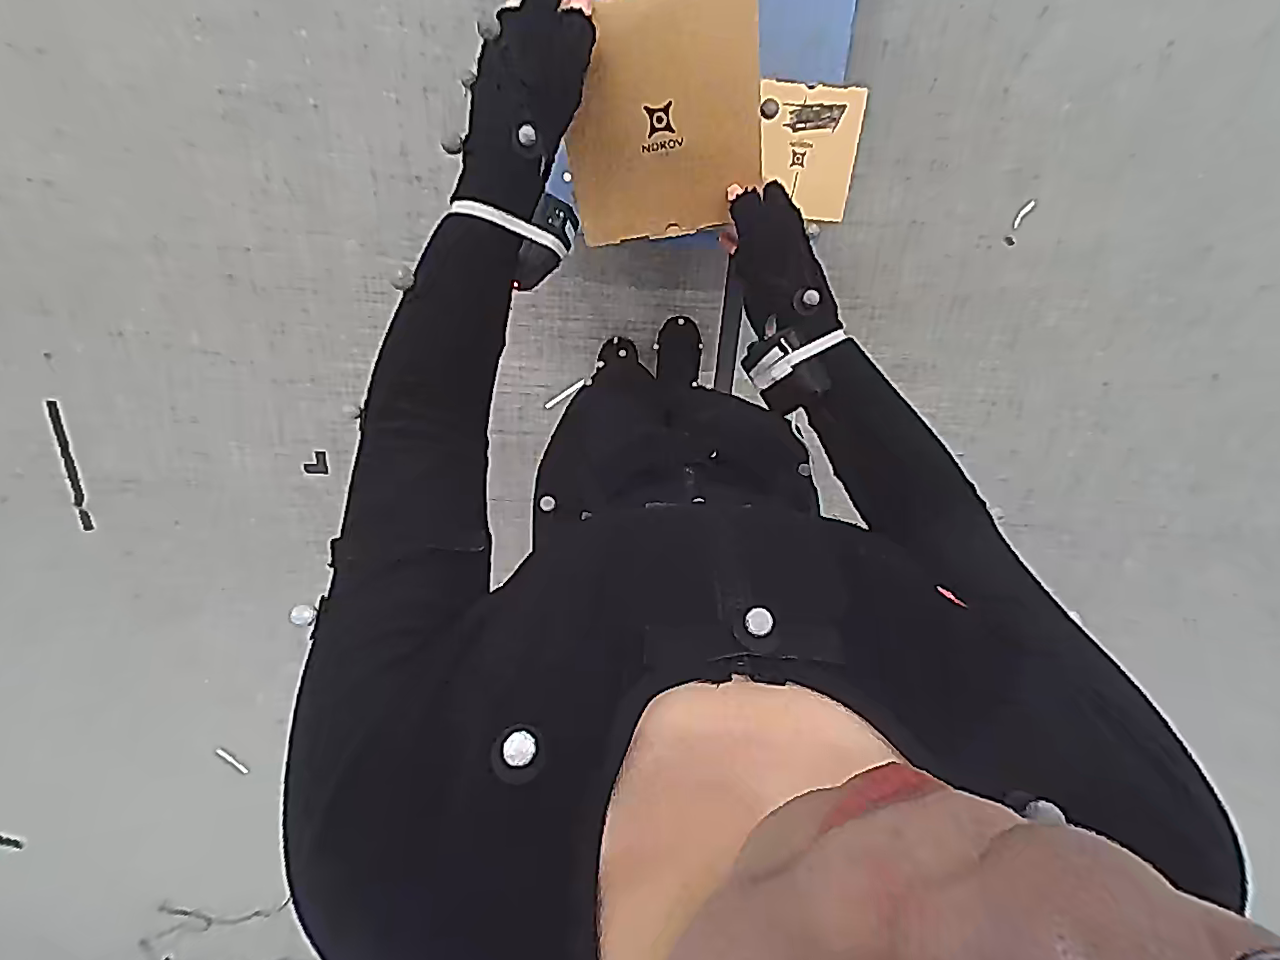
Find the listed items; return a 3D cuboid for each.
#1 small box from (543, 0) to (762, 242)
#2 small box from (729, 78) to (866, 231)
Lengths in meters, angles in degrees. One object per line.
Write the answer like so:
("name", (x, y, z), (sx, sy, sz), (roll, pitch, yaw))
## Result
("small box", (0.023, -0.351, 0.509), (0.168, 0.176, 0.179), (-4, 132, 10))
("small box", (0.234, -0.509, 0.871), (0.168, 0.176, 0.179), (5, 111, -2))
